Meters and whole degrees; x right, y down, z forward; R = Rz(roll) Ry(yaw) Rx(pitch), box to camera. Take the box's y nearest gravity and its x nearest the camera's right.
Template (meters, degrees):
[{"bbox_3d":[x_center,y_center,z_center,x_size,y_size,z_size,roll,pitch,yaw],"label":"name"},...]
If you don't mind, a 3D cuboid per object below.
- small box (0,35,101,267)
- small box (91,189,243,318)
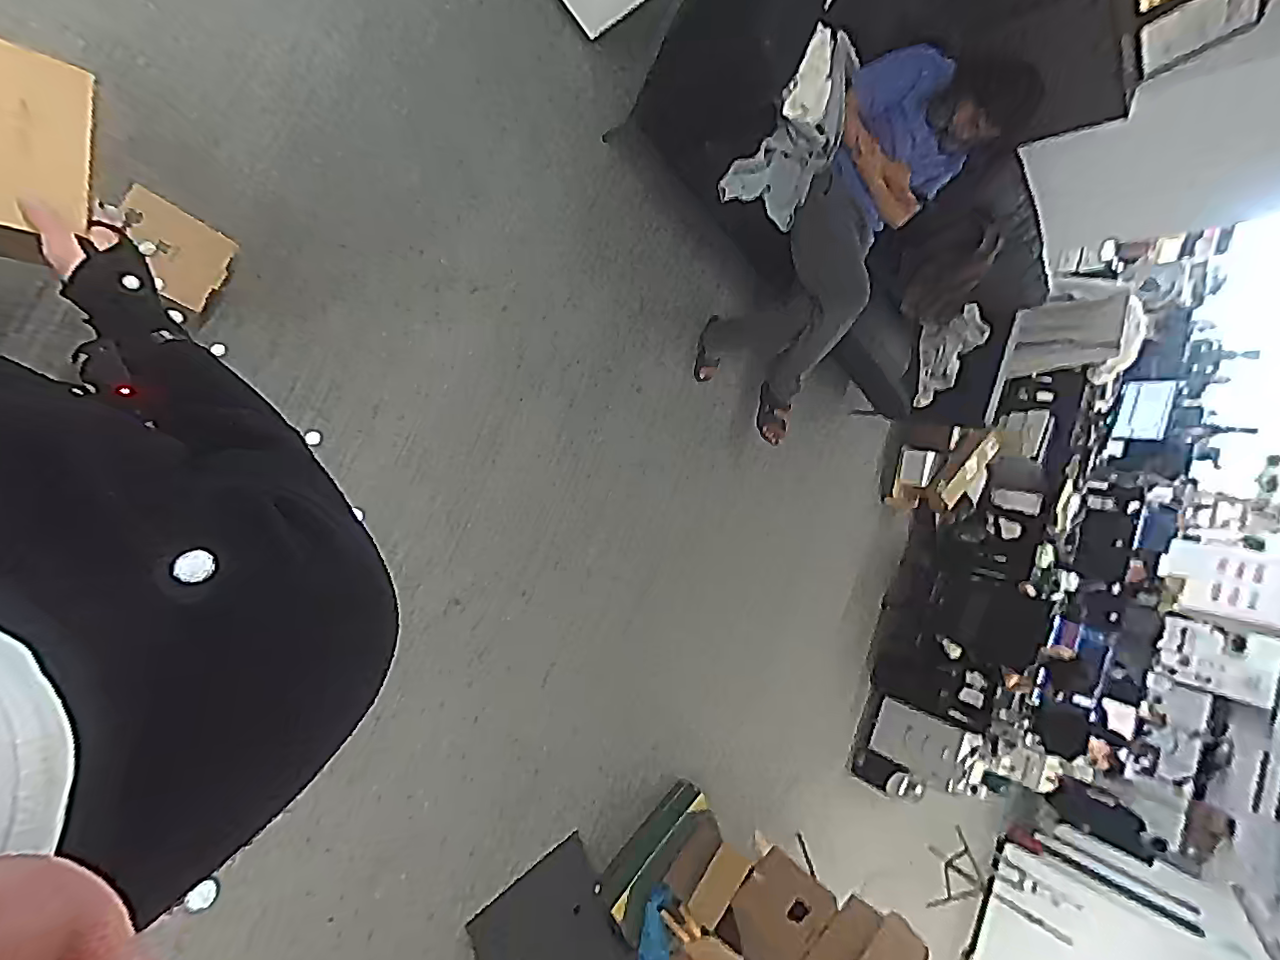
[{"bbox_3d":[-0.647,-0.321,0.522,0.179,0.176,0.168,1,95,-46],"label":"small box"},{"bbox_3d":[-0.951,-0.444,1.093,0.179,0.176,0.168,32,76,-42],"label":"small box"}]
